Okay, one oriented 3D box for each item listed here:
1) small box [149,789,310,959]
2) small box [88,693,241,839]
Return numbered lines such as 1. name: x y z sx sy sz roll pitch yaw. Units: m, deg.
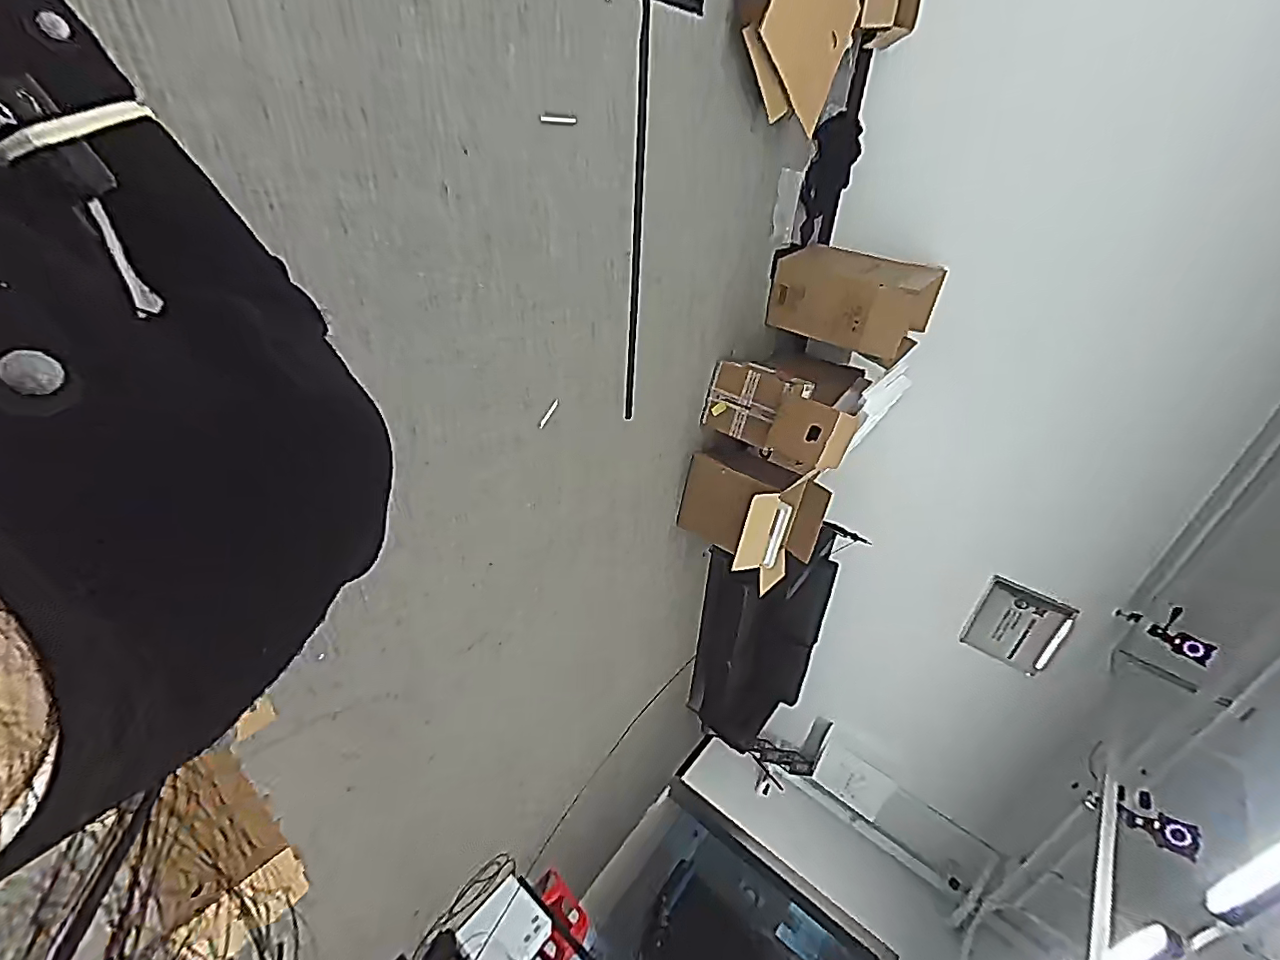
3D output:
1. small box: -0.740 0.714 0.974 0.179 0.176 0.168 -30 135 -44
2. small box: -0.997 0.591 1.138 0.179 0.176 0.168 -32 136 -41
